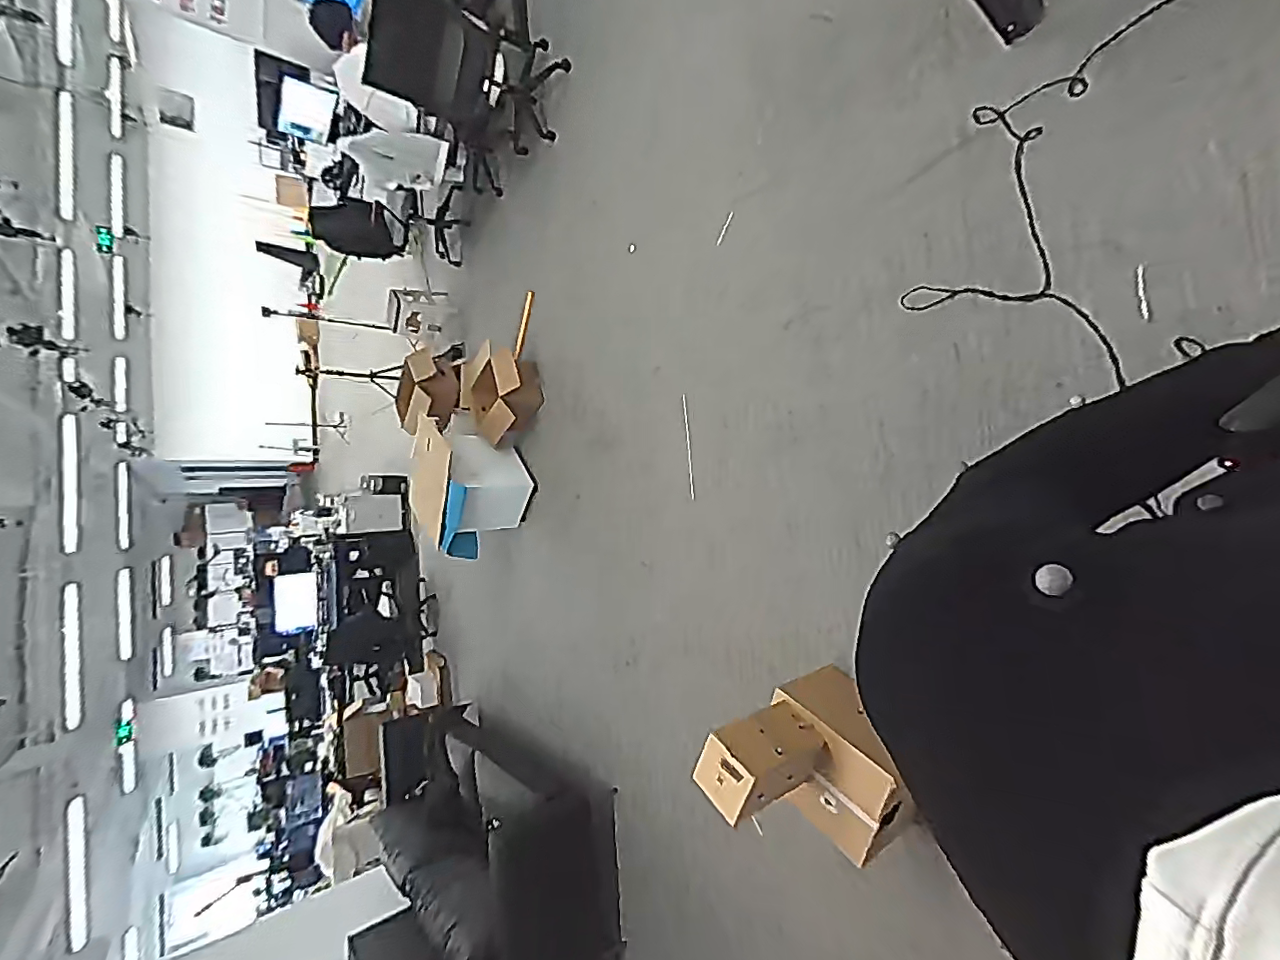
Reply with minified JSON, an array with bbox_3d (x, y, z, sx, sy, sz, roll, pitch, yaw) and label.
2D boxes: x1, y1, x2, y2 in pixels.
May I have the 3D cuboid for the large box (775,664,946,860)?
[{"bbox_3d":[0.648,0.840,1.685,0.408,0.320,0.320,27,113,46],"label":"large box"}]

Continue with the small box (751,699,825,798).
[{"bbox_3d":[0.412,0.781,1.586,0.168,0.176,0.179,36,117,44],"label":"small box"}]

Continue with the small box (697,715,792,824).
[{"bbox_3d":[0.289,0.779,1.478,0.168,0.176,0.179,36,119,44],"label":"small box"}]
